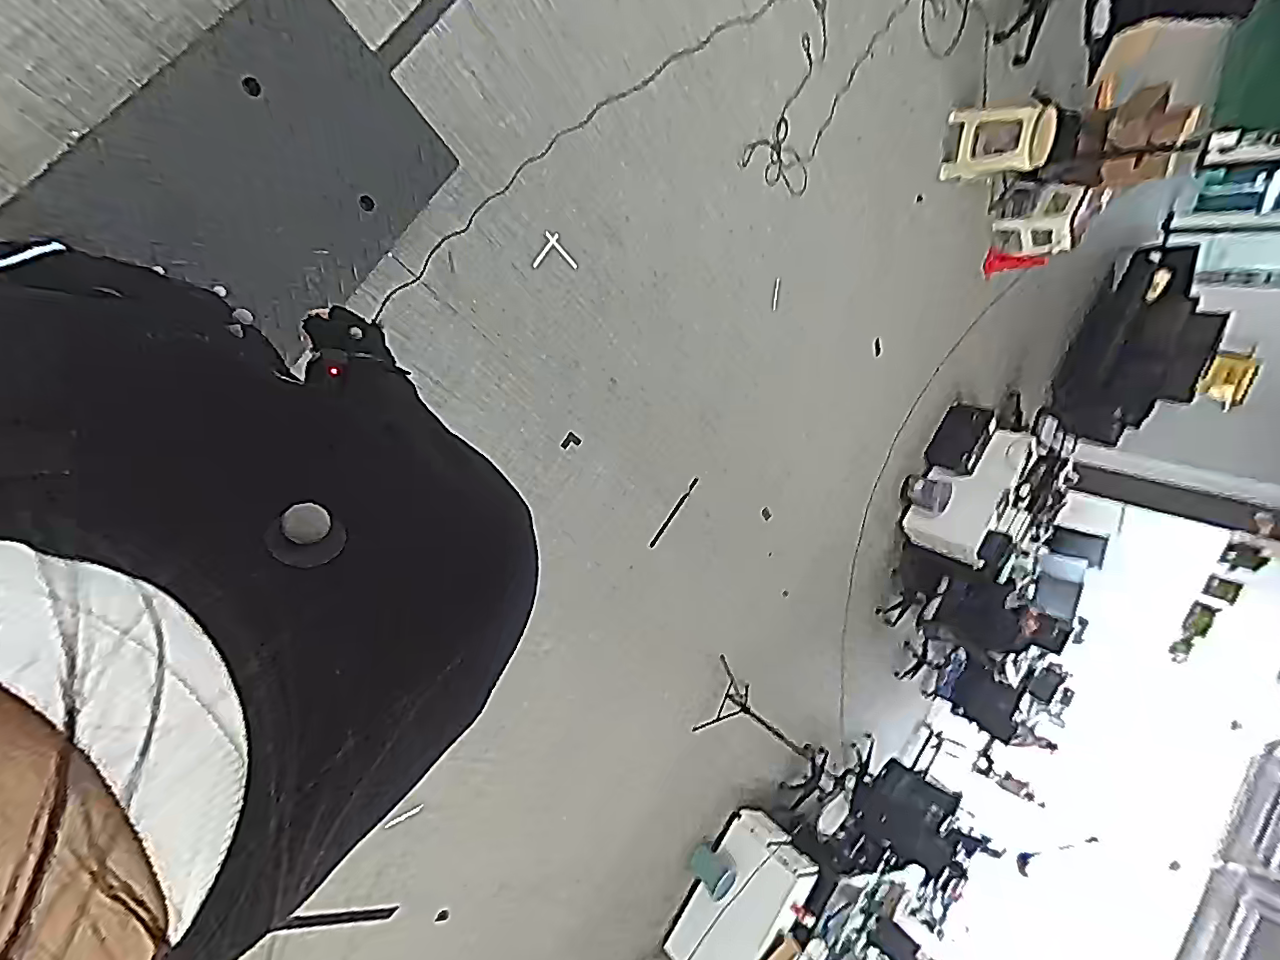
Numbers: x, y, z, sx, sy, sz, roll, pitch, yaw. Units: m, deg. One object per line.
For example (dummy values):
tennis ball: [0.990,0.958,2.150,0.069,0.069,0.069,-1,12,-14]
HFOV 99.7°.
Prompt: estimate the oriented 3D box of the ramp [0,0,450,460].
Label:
ramp: [-0.862,-0.583,1.171,0.991,0.206,0.509,-57,134,-10]
